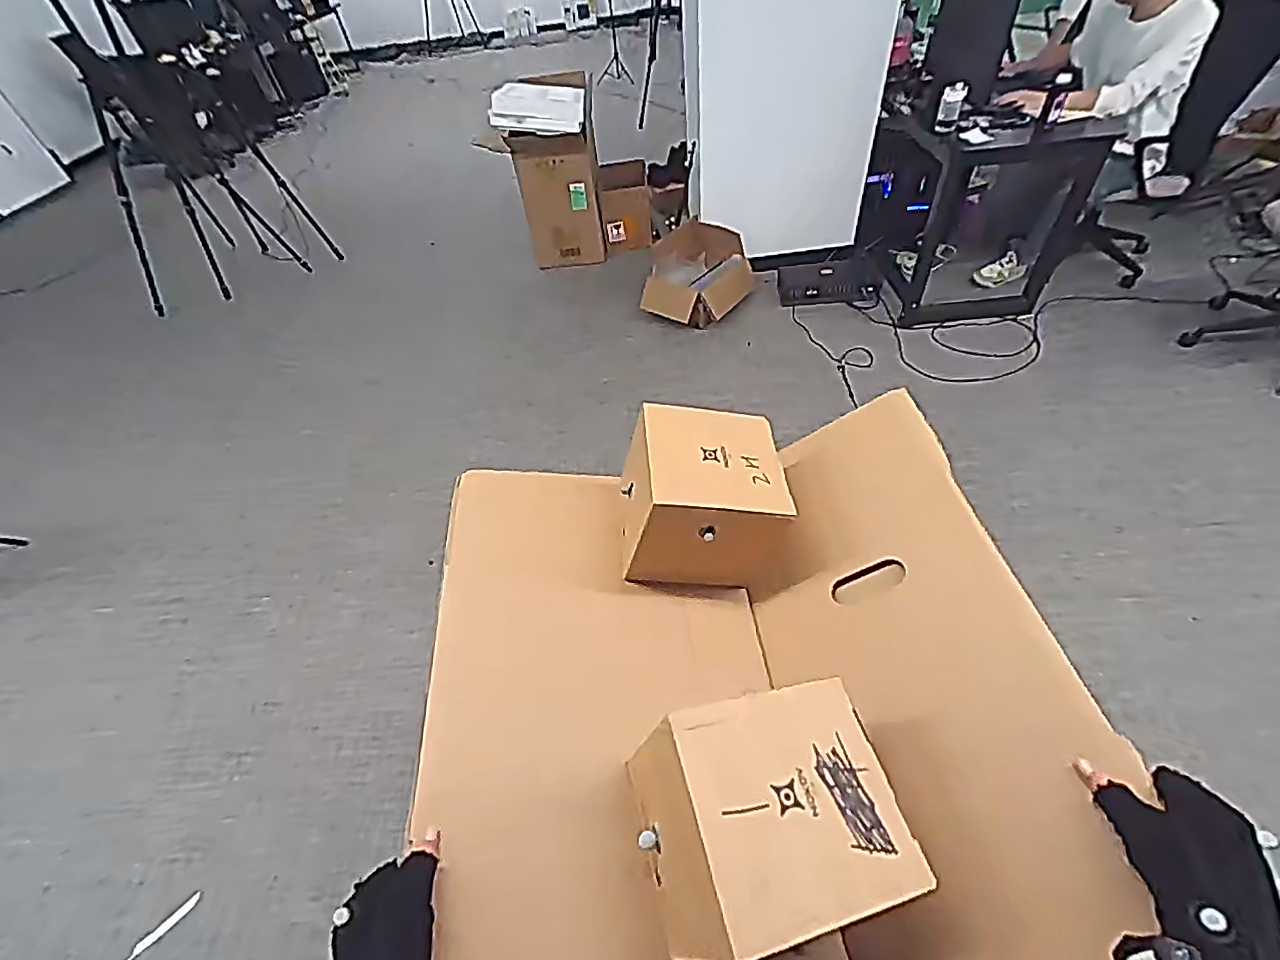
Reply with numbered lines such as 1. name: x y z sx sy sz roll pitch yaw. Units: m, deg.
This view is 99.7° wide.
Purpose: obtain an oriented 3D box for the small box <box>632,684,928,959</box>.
1. small box: 0.107 0.309 0.497 0.179 0.176 0.168 -4 51 -19

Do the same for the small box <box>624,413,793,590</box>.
1. small box: 0.076 0.034 0.726 0.179 0.176 0.168 6 49 -12
